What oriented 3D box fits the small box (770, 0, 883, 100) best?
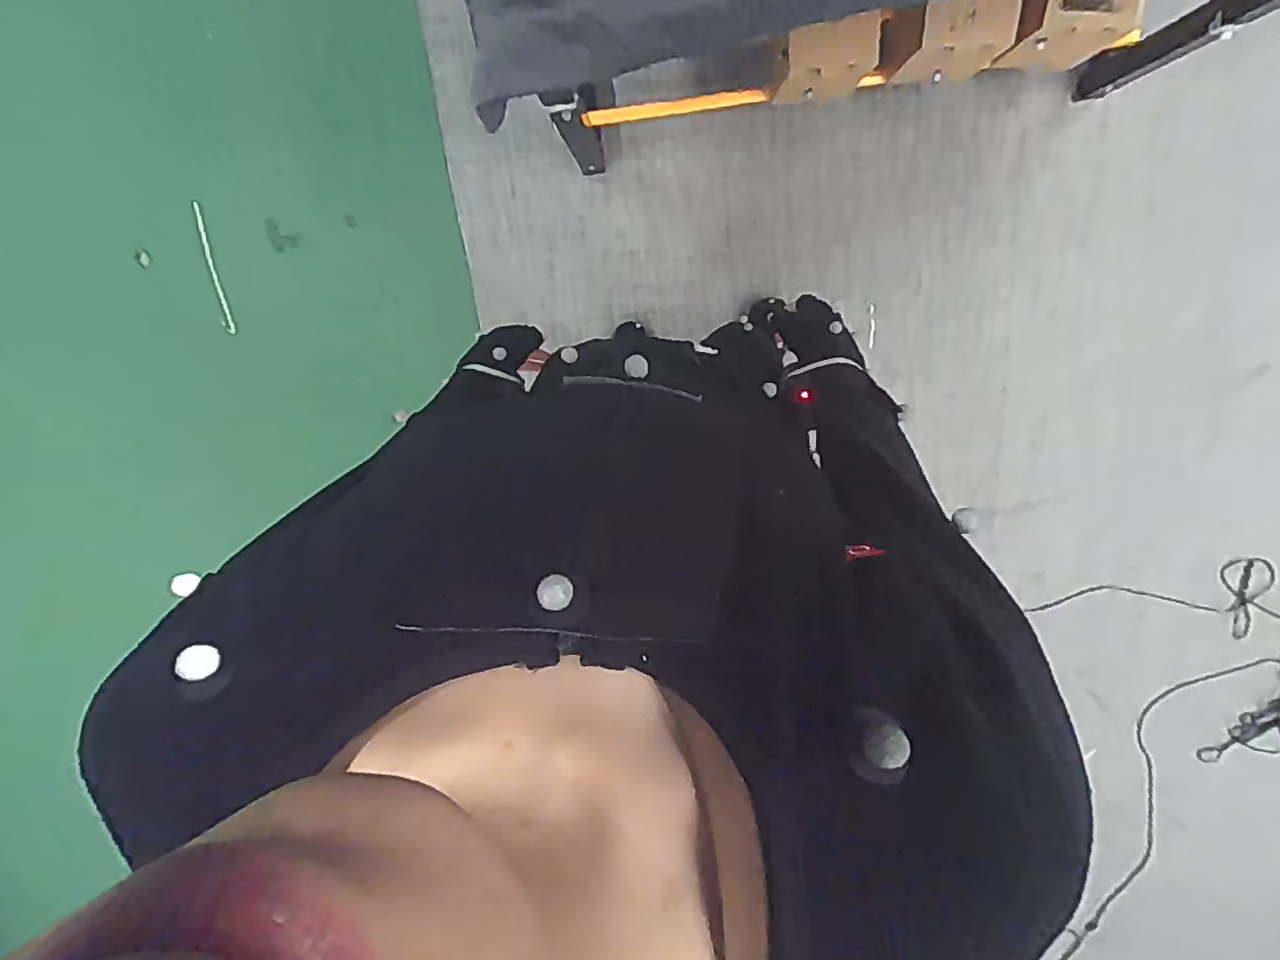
[{"bbox_3d":[0.346,-0.858,1.028,0.168,0.176,0.179,-4,109,3],"label":"small box"}]
